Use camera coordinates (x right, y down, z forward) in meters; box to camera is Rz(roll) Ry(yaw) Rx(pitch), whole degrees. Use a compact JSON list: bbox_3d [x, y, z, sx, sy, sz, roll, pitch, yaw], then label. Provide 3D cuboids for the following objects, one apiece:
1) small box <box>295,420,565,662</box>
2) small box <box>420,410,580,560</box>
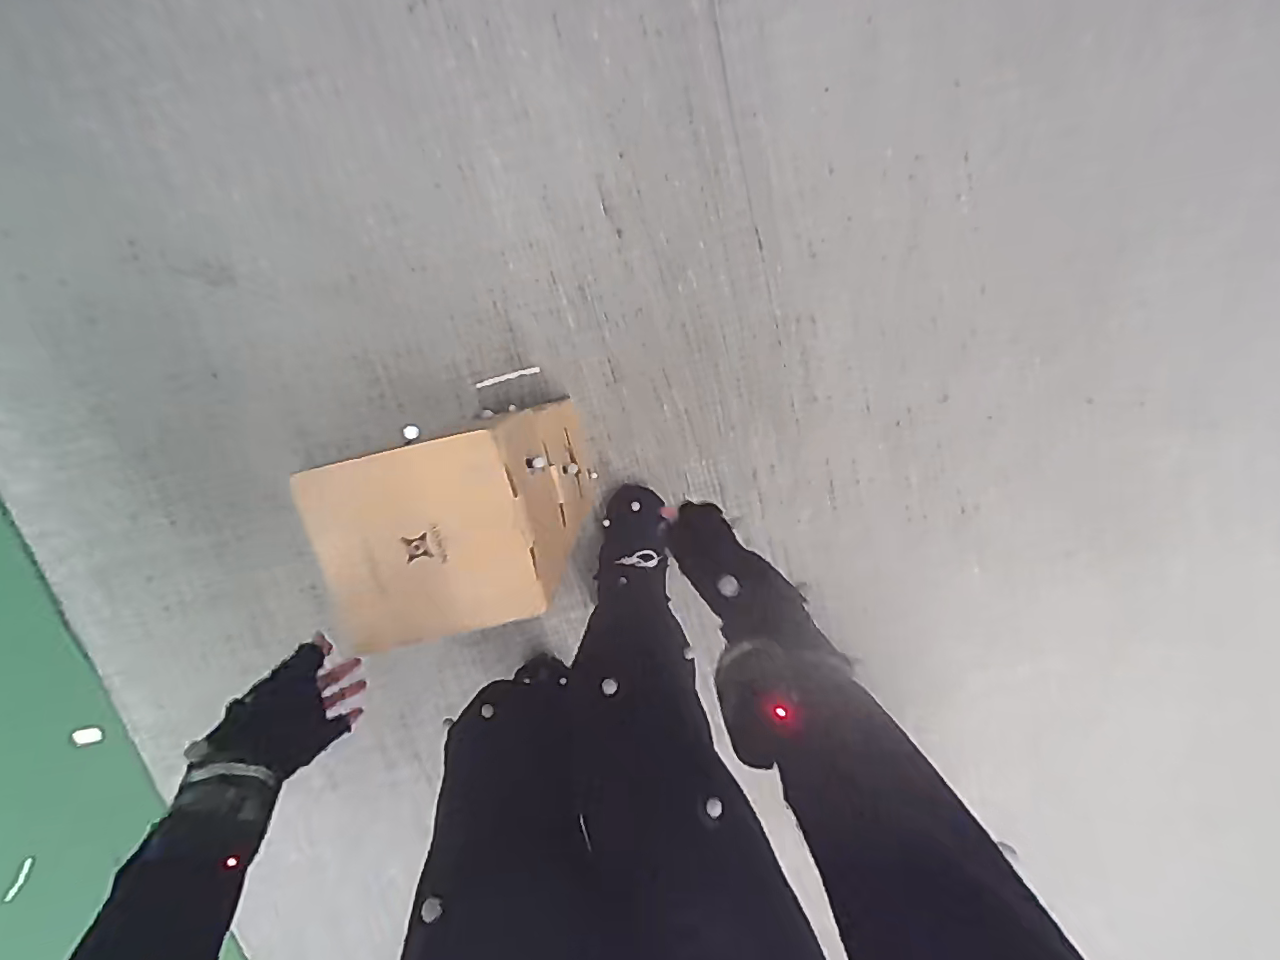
[{"bbox_3d":[-0.178,0.045,0.526,0.179,0.176,0.168,-14,101,3],"label":"small box"},{"bbox_3d":[-0.177,0.012,0.686,0.179,0.176,0.168,-12,103,1],"label":"small box"}]
